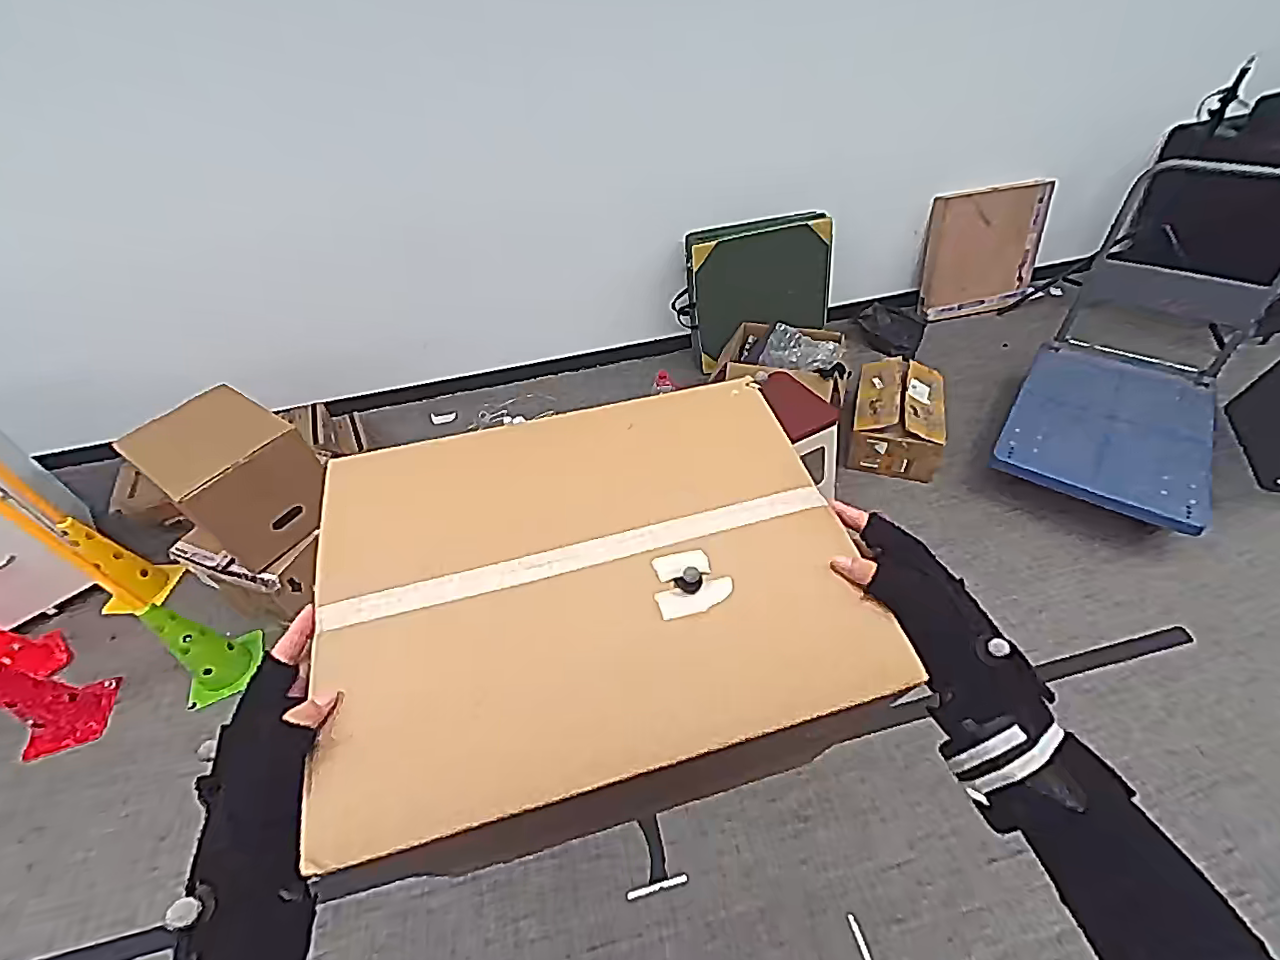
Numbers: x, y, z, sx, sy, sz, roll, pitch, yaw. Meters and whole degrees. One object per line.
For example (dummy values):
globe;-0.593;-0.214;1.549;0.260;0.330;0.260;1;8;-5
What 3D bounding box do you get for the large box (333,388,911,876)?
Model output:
large box;-0.037;0.154;0.554;0.408;0.320;0.320;-13;55;-10
